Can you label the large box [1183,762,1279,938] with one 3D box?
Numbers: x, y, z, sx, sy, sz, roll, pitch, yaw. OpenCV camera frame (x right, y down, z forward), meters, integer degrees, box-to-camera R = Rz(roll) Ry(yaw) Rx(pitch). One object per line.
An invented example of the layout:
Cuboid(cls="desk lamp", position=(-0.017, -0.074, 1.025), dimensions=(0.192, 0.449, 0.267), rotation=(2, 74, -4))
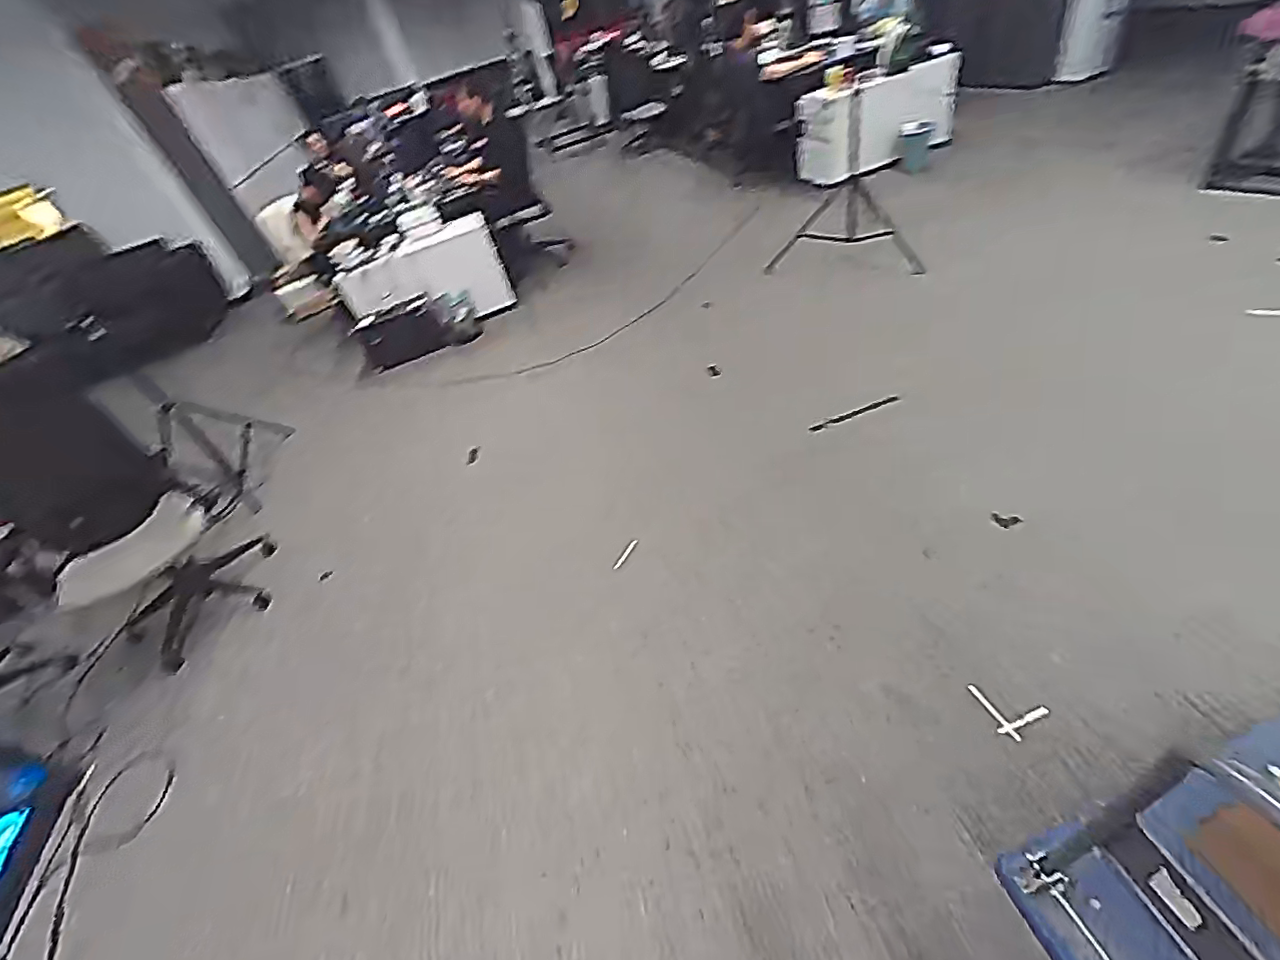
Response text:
Cuboid(cls="large box", position=(1.134, 0.593, 0.741), dimensions=(0.320, 0.320, 0.408), rotation=(-21, 40, -4))
